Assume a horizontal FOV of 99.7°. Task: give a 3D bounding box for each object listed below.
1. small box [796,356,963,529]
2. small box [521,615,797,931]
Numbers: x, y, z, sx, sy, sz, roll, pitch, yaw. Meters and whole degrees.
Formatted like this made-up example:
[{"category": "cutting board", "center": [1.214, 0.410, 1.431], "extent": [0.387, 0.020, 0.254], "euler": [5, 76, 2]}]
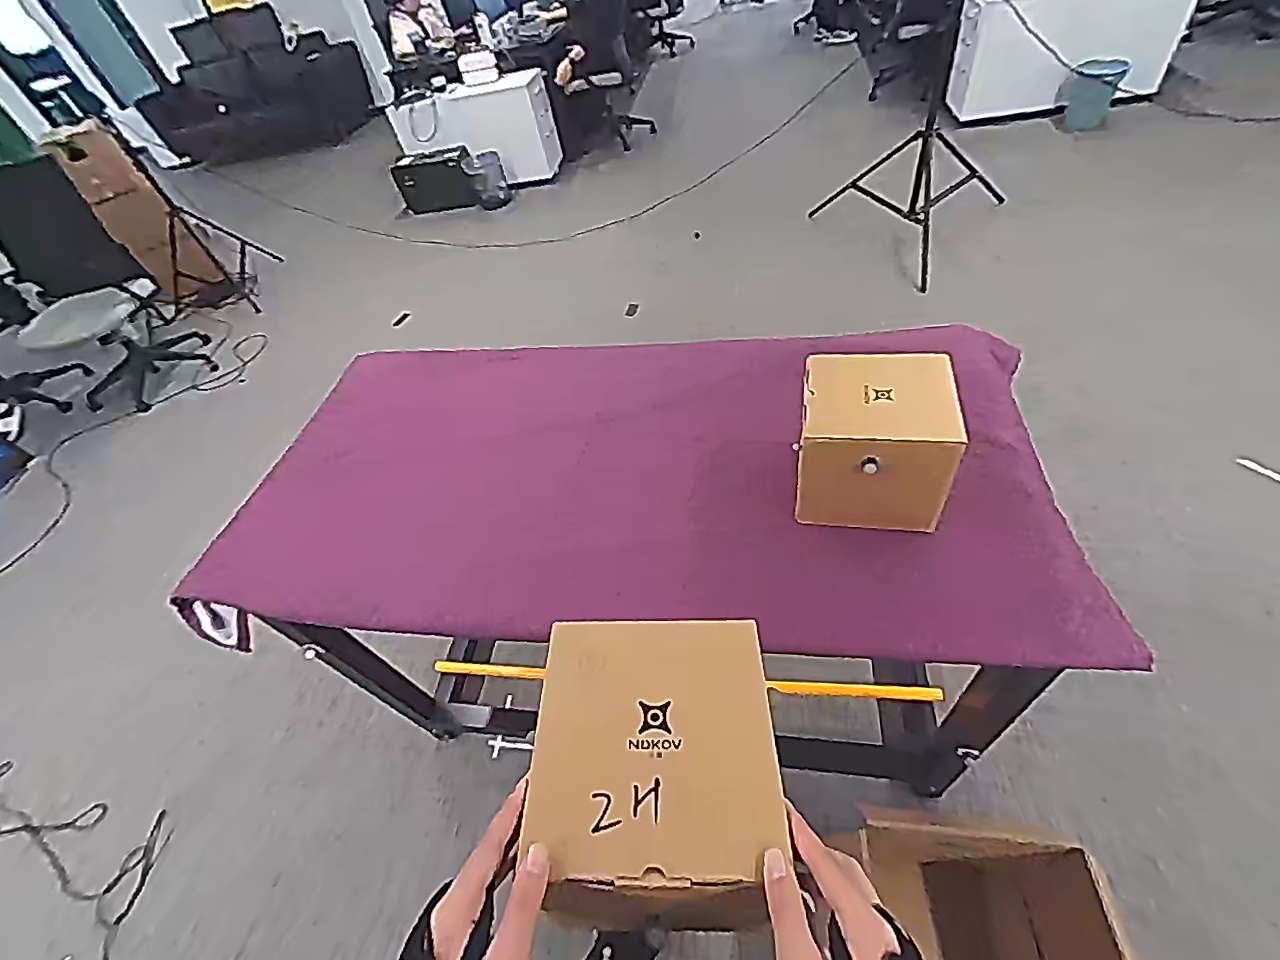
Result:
[{"category": "small box", "center": [0.307, -0.049, 0.728], "extent": [0.179, 0.176, 0.168], "euler": [3, 48, 16]}, {"category": "small box", "center": [0.016, 0.228, 0.430], "extent": [0.168, 0.176, 0.179], "euler": [-1, 43, 3]}]
